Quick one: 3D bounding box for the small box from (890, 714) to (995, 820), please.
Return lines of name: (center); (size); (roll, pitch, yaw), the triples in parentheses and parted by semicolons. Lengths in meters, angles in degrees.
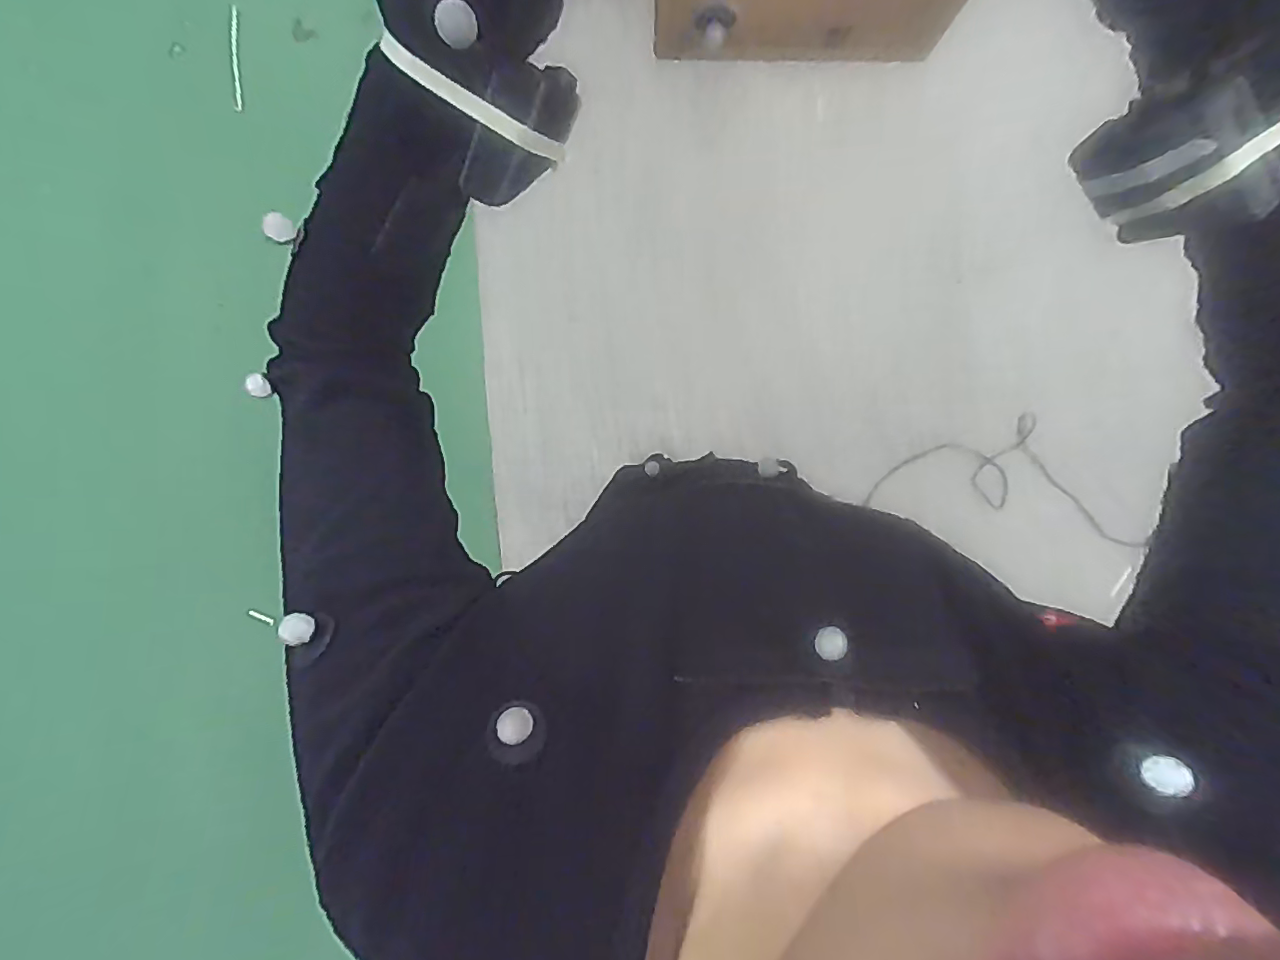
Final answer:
small box: (0.743, 0.706, 1.344); (0.168, 0.176, 0.179); (-5, 87, 1)
